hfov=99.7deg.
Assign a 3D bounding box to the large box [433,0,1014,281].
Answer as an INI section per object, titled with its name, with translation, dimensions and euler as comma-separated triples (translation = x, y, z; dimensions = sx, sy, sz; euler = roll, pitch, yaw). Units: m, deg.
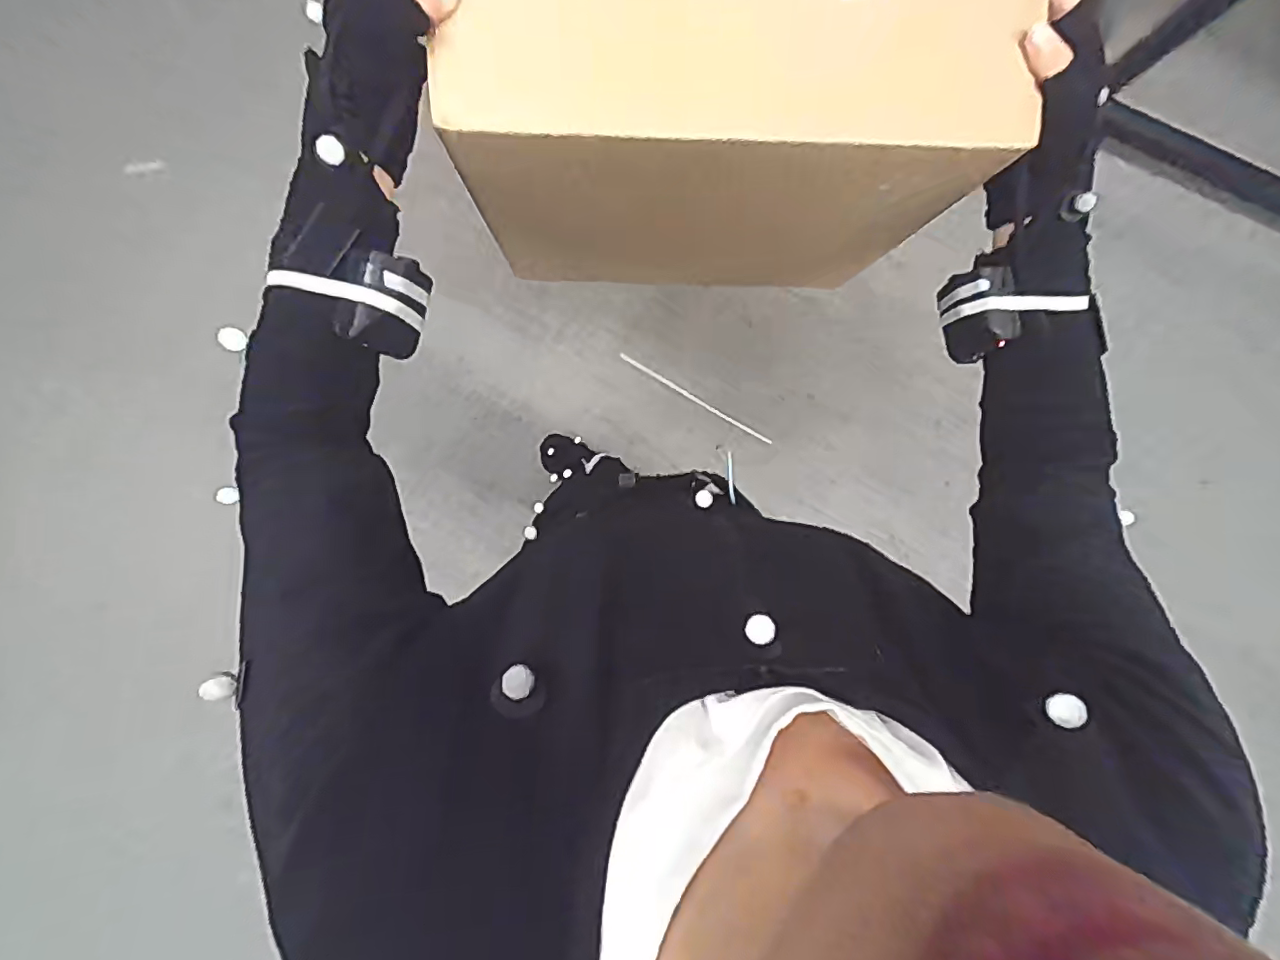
[large box]
translation = 0.048, -0.393, 0.509
dimensions = 0.408, 0.320, 0.320
euler = -1, 93, -4
